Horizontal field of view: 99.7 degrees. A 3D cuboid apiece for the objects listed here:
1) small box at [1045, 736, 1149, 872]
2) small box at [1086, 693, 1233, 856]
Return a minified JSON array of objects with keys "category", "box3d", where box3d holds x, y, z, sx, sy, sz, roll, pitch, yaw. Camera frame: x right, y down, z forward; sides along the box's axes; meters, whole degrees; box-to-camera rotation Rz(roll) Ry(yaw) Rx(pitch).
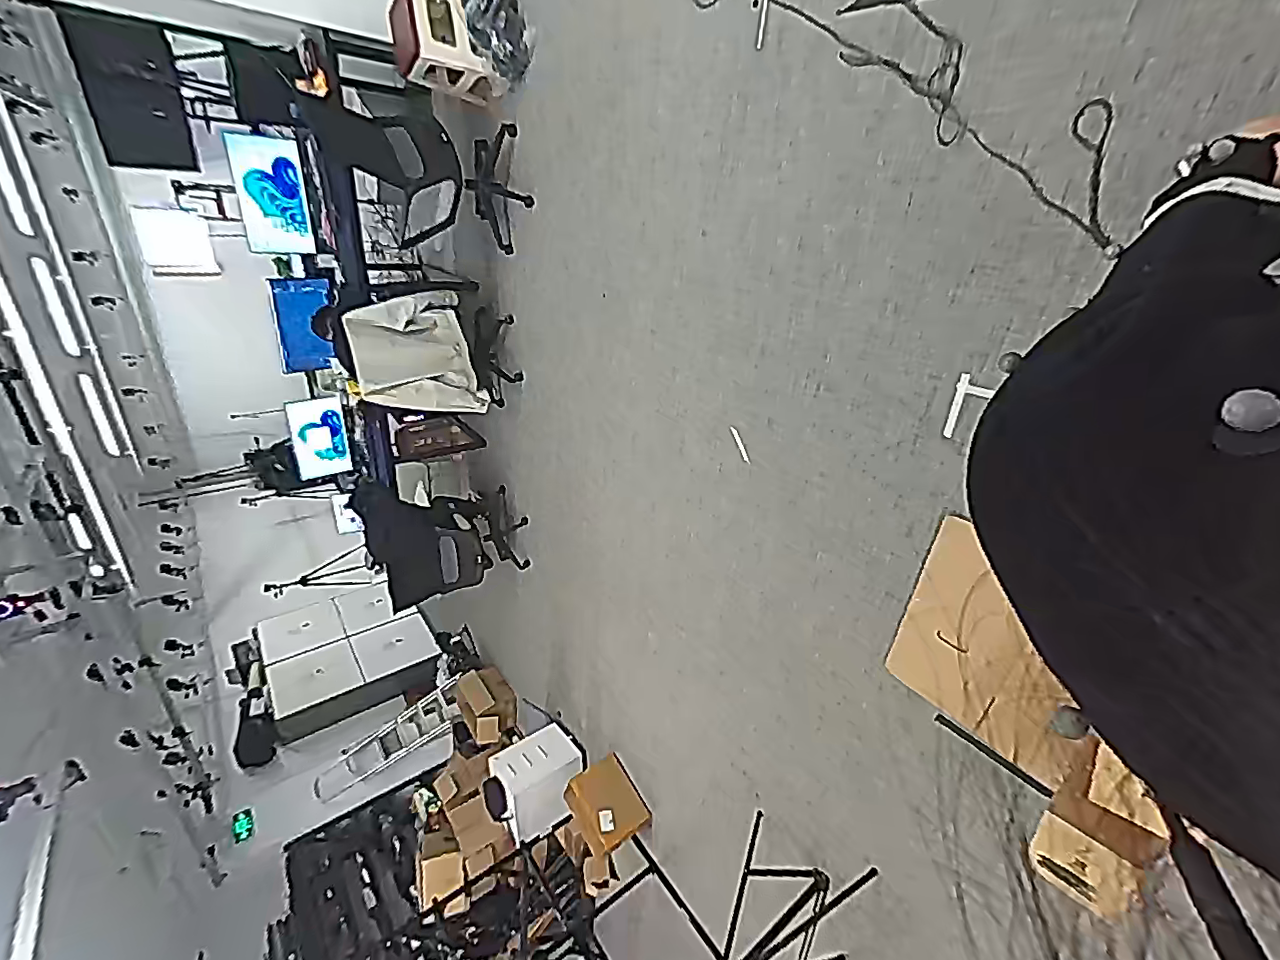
[{"category":"small box","box3d":[1.096,0.751,1.271,0.168,0.176,0.179,23,121,47]},{"category":"small box","box3d":[0.997,0.552,1.039,0.168,0.176,0.179,16,116,48]}]
